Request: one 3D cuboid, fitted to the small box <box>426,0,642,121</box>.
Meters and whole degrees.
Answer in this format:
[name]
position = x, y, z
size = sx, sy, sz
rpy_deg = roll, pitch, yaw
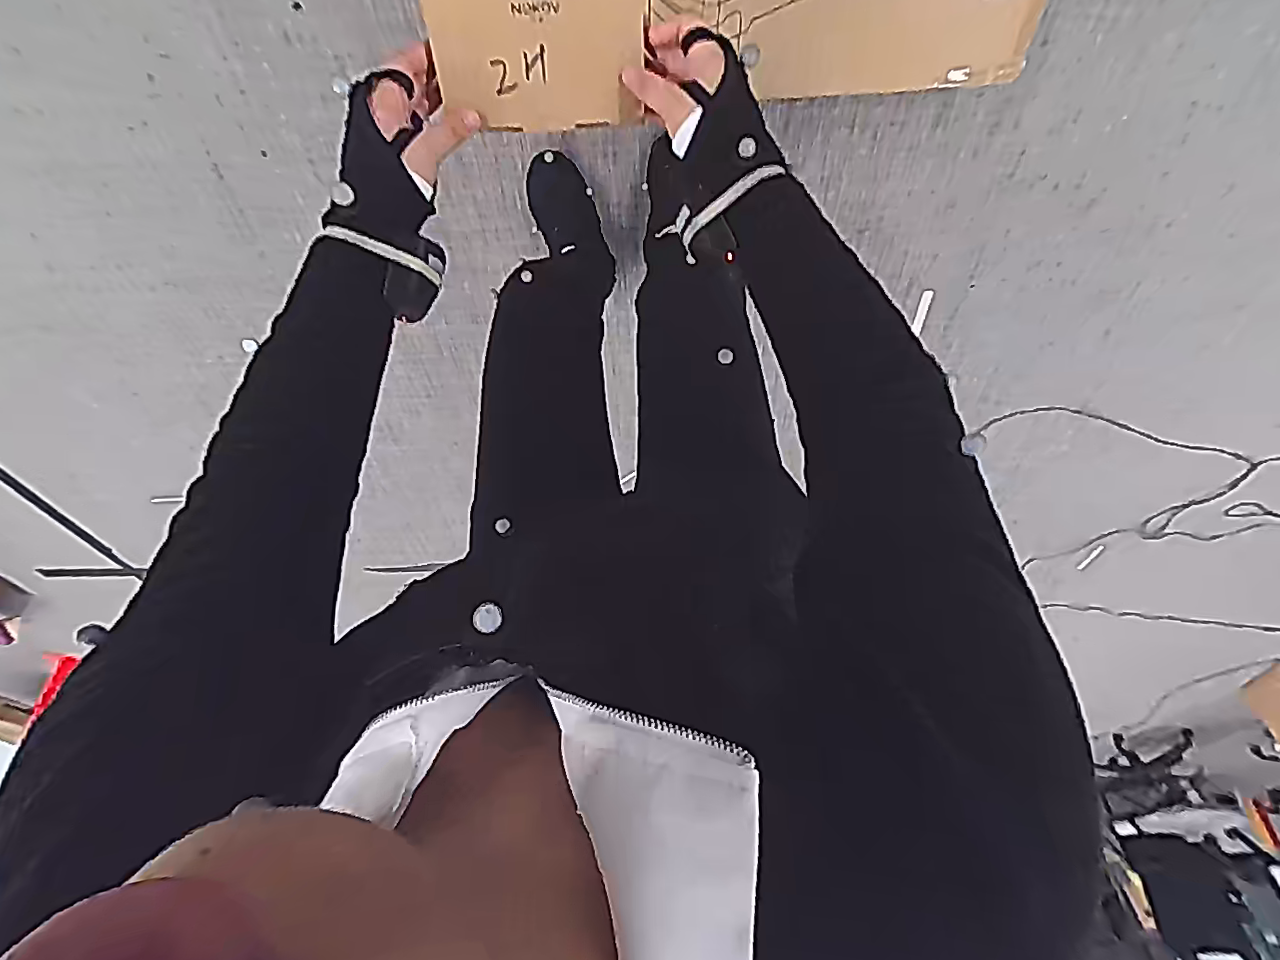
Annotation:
[small box]
position = -0.088, -0.425, 0.464
size = 0.168, 0.176, 0.179
rpy_deg = -4, 132, -3
